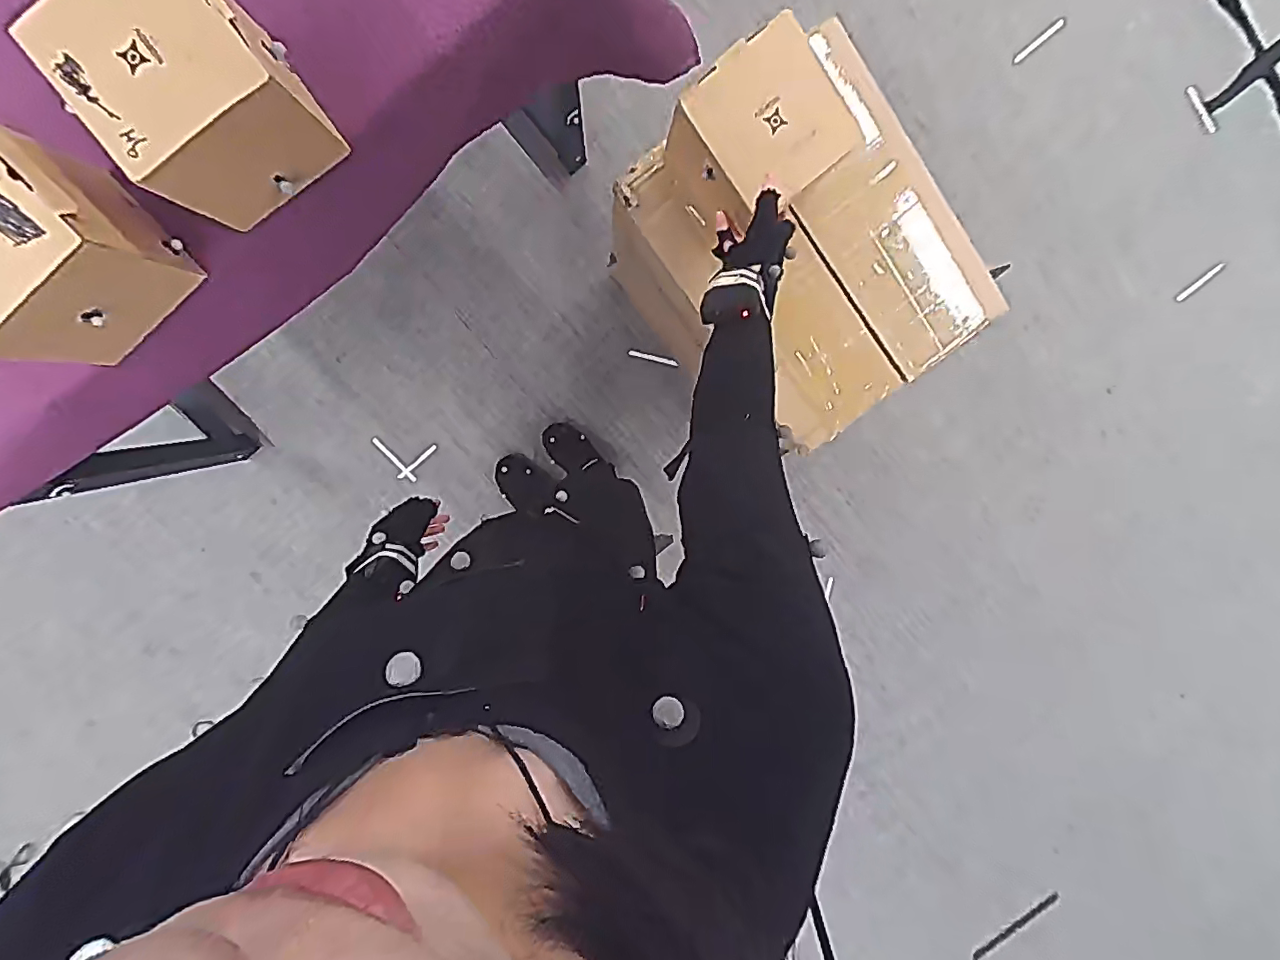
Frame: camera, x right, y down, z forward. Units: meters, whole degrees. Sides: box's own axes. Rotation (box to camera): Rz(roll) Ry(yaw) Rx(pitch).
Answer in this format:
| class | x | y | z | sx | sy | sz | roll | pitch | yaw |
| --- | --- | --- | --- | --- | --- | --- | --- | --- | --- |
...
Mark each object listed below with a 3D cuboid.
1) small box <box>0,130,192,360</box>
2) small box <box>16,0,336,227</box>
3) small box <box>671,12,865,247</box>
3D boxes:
| class | x | y | z | sx | sy | sz | roll | pitch | yaw |
| --- | --- | --- | --- | --- | --- | --- | --- | --- | --- |
| small box | -0.663 | -0.254 | 0.604 | 0.179 | 0.176 | 0.168 | -40 | 98 | 4 |
| small box | -0.472 | -0.417 | 0.593 | 0.179 | 0.176 | 0.168 | -35 | 99 | 1 |
| small box | 0.157 | -0.450 | 0.731 | 0.168 | 0.176 | 0.179 | -38 | 101 | 5 |
